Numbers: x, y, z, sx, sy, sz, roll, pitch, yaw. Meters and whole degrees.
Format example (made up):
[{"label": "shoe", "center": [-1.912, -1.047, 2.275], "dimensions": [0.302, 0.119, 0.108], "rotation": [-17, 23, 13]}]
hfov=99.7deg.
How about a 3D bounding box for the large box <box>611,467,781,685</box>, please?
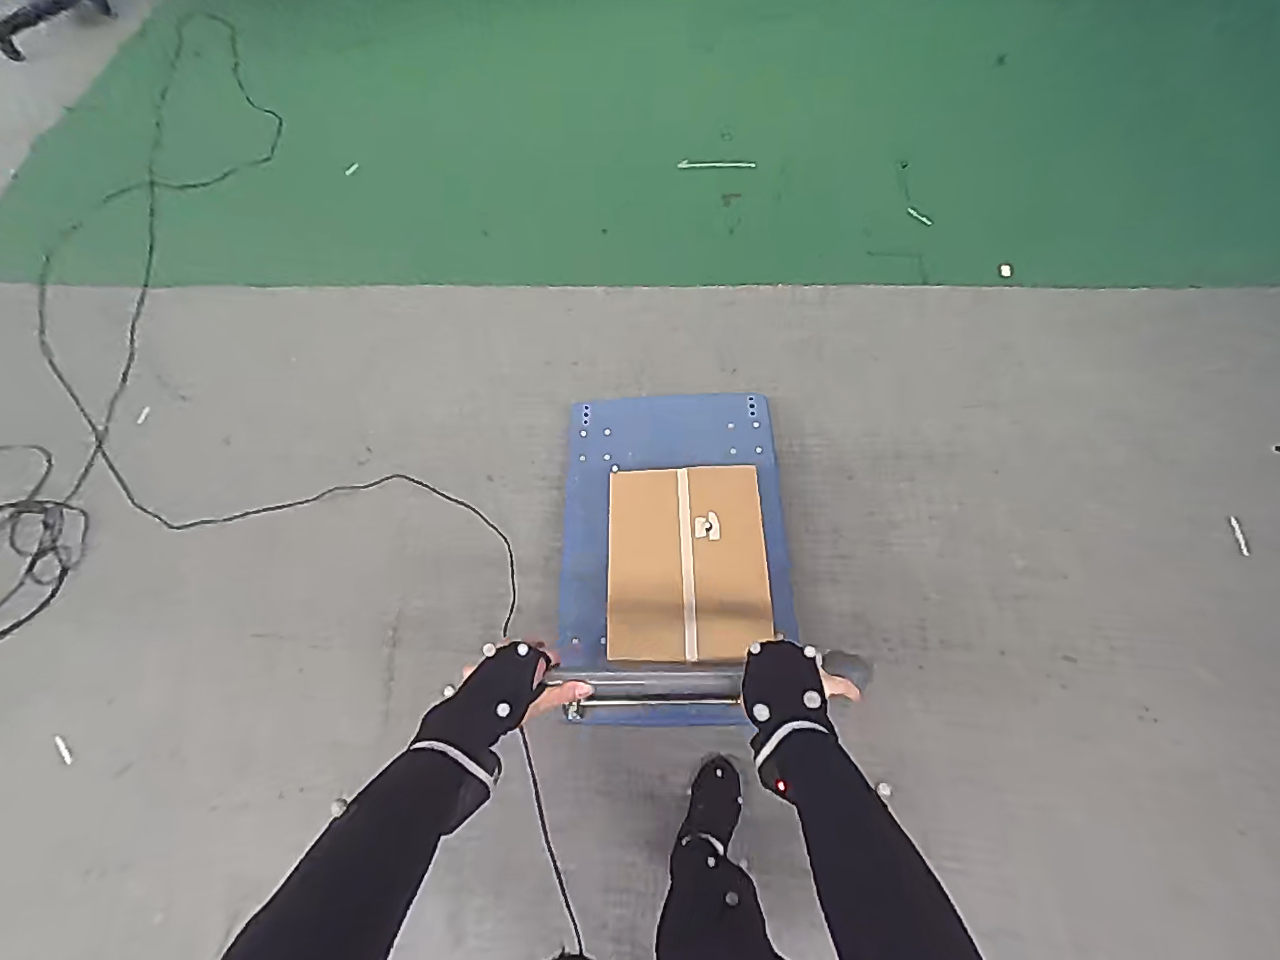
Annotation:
[{"label": "large box", "center": [0.113, 0.224, 1.196], "dimensions": [0.320, 0.320, 0.408], "rotation": [-3, 64, 4]}]
